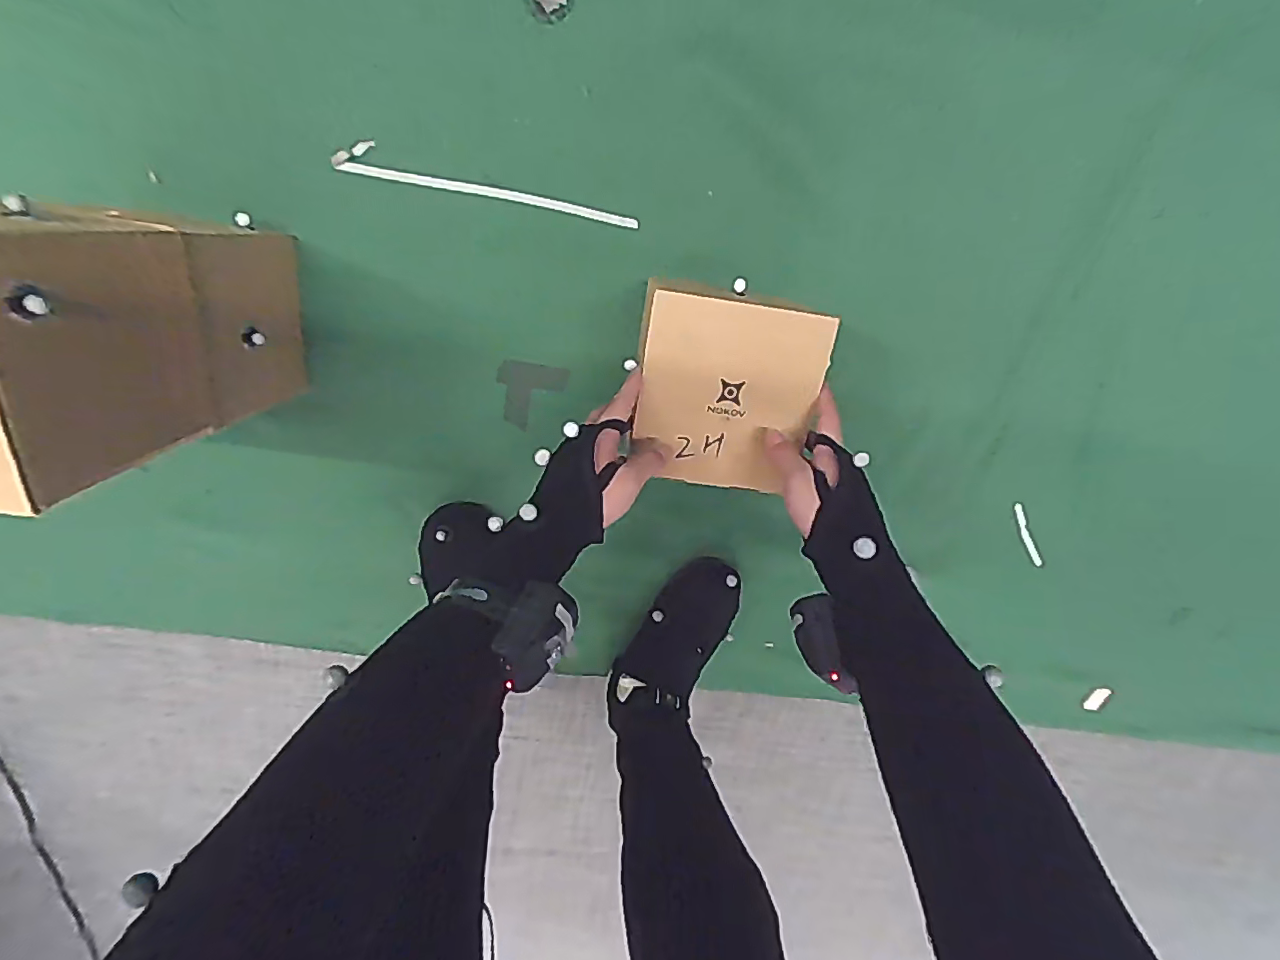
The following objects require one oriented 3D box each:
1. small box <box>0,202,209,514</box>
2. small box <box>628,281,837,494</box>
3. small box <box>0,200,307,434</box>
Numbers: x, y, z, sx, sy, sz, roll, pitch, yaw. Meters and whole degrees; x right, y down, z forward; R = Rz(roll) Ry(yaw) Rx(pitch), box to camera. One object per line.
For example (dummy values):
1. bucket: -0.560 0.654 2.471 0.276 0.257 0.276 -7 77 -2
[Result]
1. small box: -0.458 -0.099 0.391 0.168 0.176 0.179 8 113 -4
2. small box: 0.079 -0.106 0.570 0.168 0.176 0.179 8 113 -4
3. small box: -0.463 -0.165 0.538 0.168 0.176 0.179 8 114 -4
